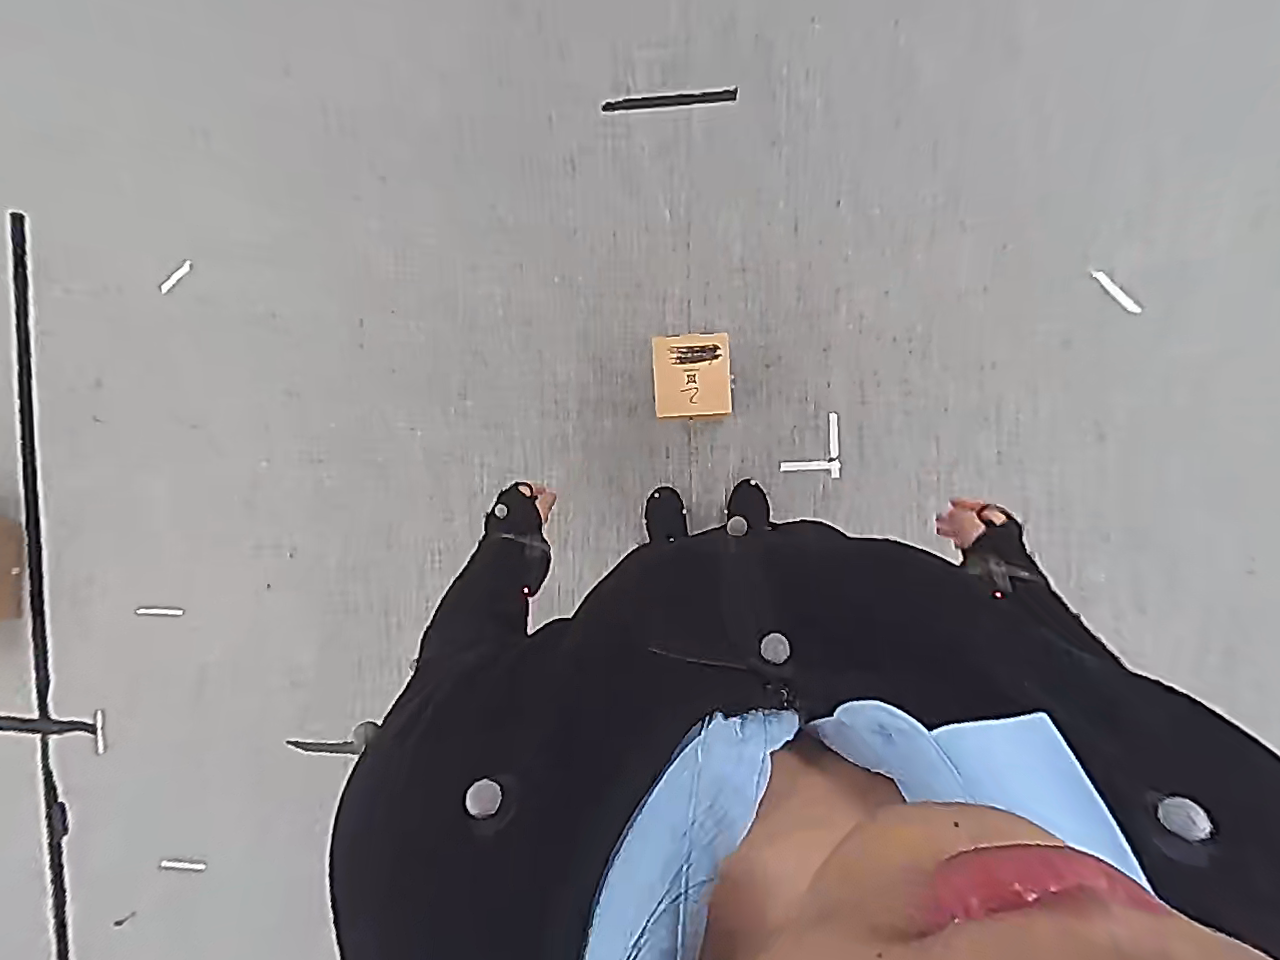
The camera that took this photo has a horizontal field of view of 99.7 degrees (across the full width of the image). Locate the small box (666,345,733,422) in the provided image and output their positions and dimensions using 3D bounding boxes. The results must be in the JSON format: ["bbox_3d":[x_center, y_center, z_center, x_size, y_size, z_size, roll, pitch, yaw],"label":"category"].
[{"bbox_3d":[0.151,-0.244,1.401,0.168,0.176,0.179,-2,93,5],"label":"small box"}]
